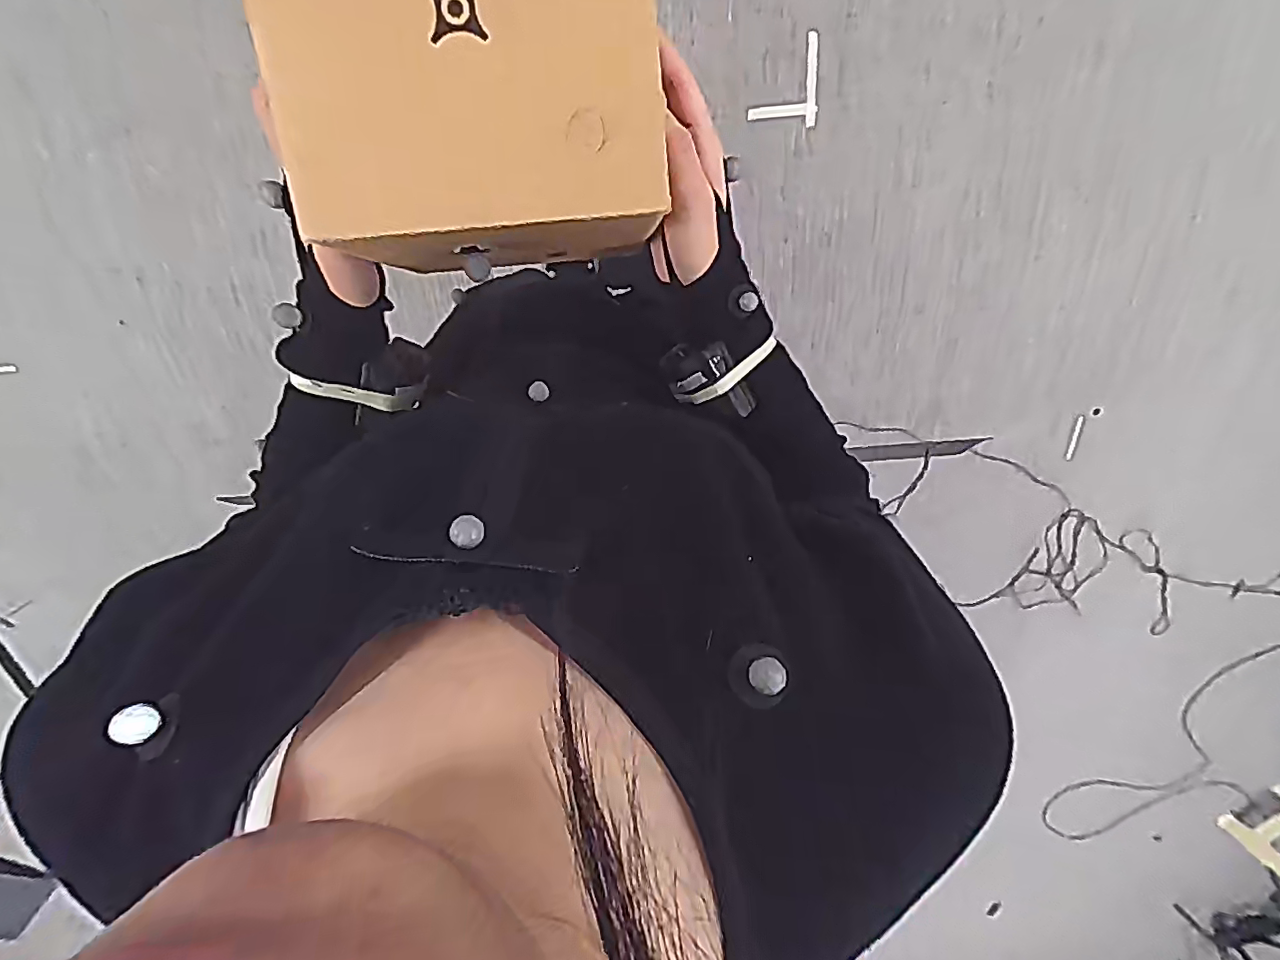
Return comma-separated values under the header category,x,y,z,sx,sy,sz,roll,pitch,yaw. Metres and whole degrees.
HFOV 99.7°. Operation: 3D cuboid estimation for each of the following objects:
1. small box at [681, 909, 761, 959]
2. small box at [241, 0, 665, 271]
category,x,y,z,sx,sy,sz,roll,pitch,yaw
small box,0.186,1.110,1.217,0.168,0.176,0.179,-3,115,-4
small box,-0.080,-0.215,0.294,0.168,0.176,0.179,-7,106,-3
